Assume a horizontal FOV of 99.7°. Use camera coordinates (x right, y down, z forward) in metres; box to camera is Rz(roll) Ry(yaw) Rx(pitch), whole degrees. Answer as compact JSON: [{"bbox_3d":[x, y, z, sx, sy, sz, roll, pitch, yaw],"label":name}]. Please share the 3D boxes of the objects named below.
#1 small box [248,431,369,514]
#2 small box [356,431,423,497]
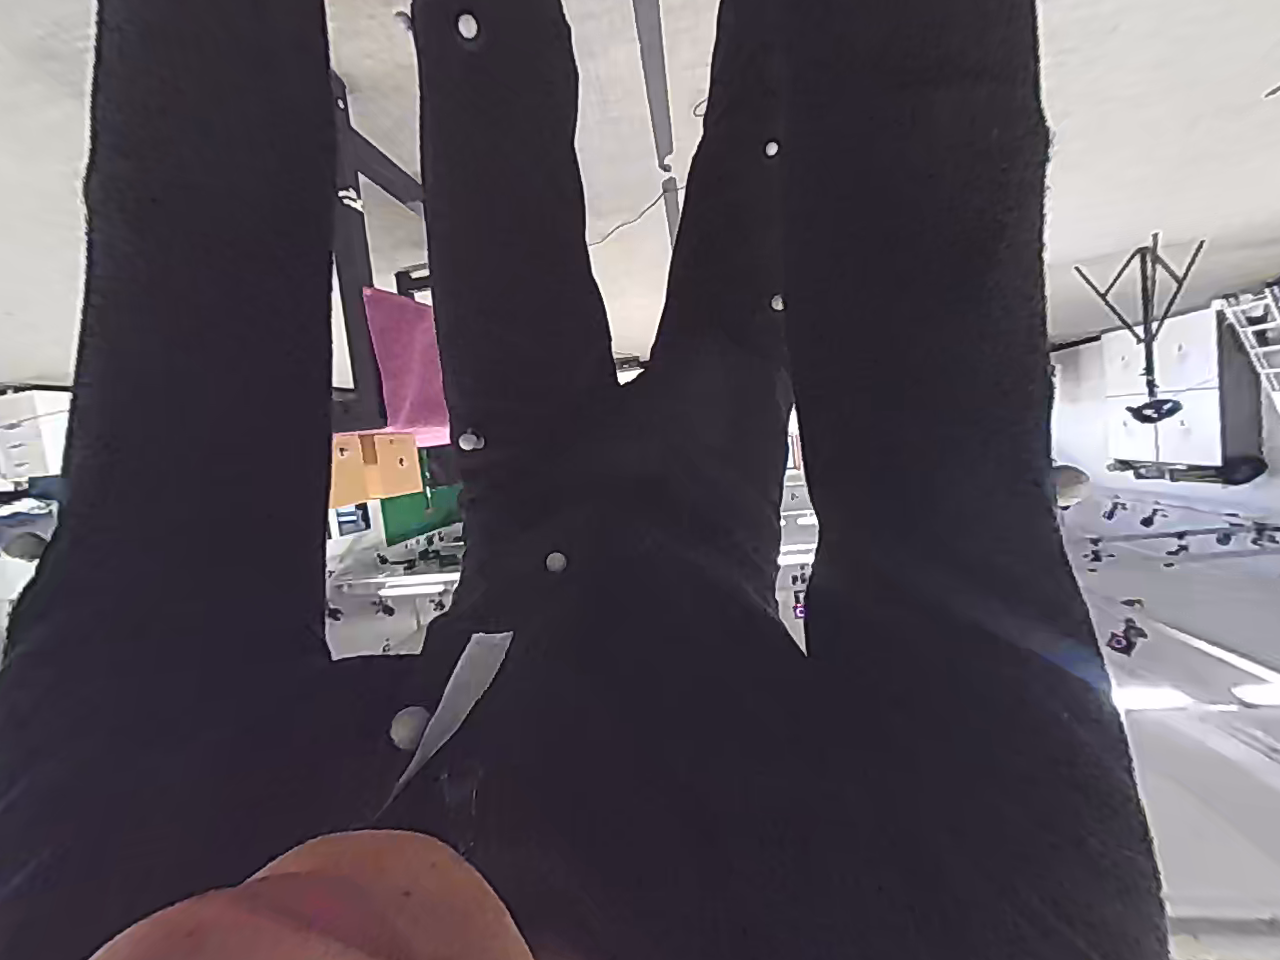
[{"bbox_3d":[-0.768,-0.022,1.253,0.179,0.176,0.168,-5,-173,12],"label":"small box"},{"bbox_3d":[-0.732,-0.046,1.489,0.179,0.176,0.168,-5,-175,14],"label":"small box"}]
